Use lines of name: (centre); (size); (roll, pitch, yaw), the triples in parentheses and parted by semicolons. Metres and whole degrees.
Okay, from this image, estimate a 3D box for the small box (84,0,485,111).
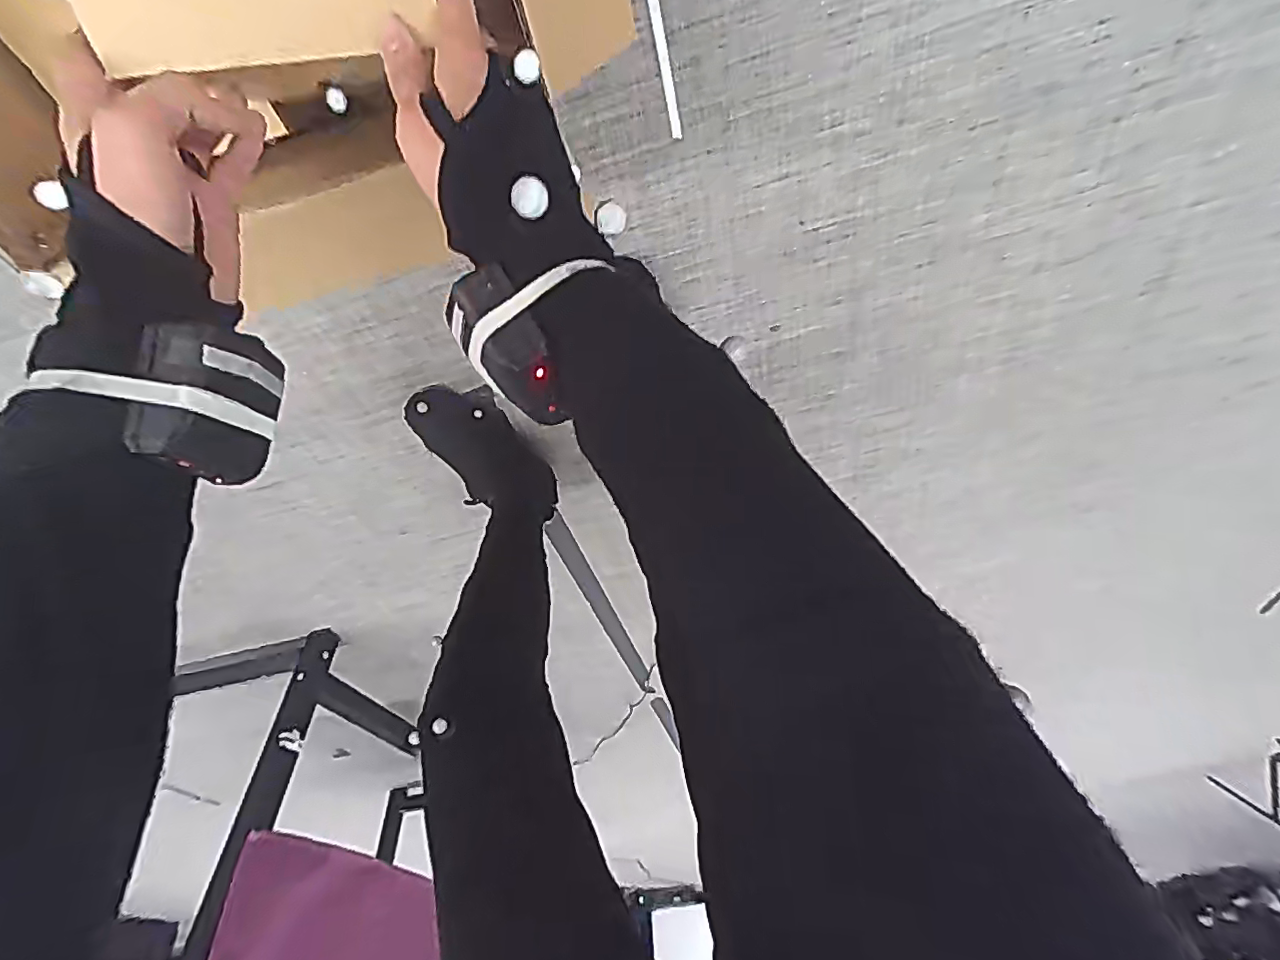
small box: (-0.192, -0.317, 0.301); (0.168, 0.176, 0.179); (-8, 121, -4)
